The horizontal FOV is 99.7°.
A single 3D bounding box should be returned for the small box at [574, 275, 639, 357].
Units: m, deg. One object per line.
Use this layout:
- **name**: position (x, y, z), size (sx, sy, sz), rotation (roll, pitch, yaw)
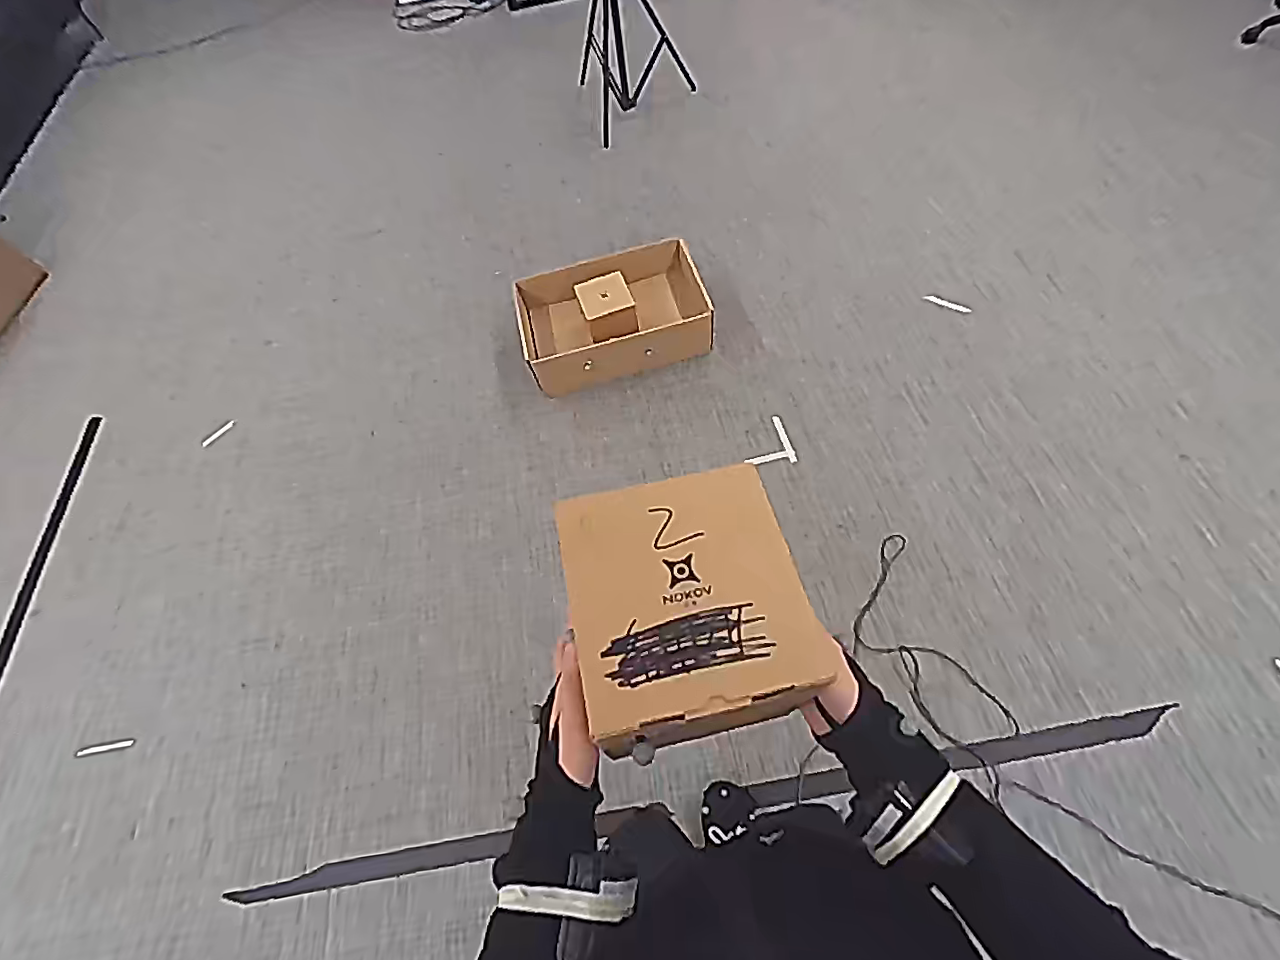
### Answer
- **small box**: position (-0.111, -0.555, 1.841), size (0.168, 0.176, 0.179), rotation (-20, 62, -3)
